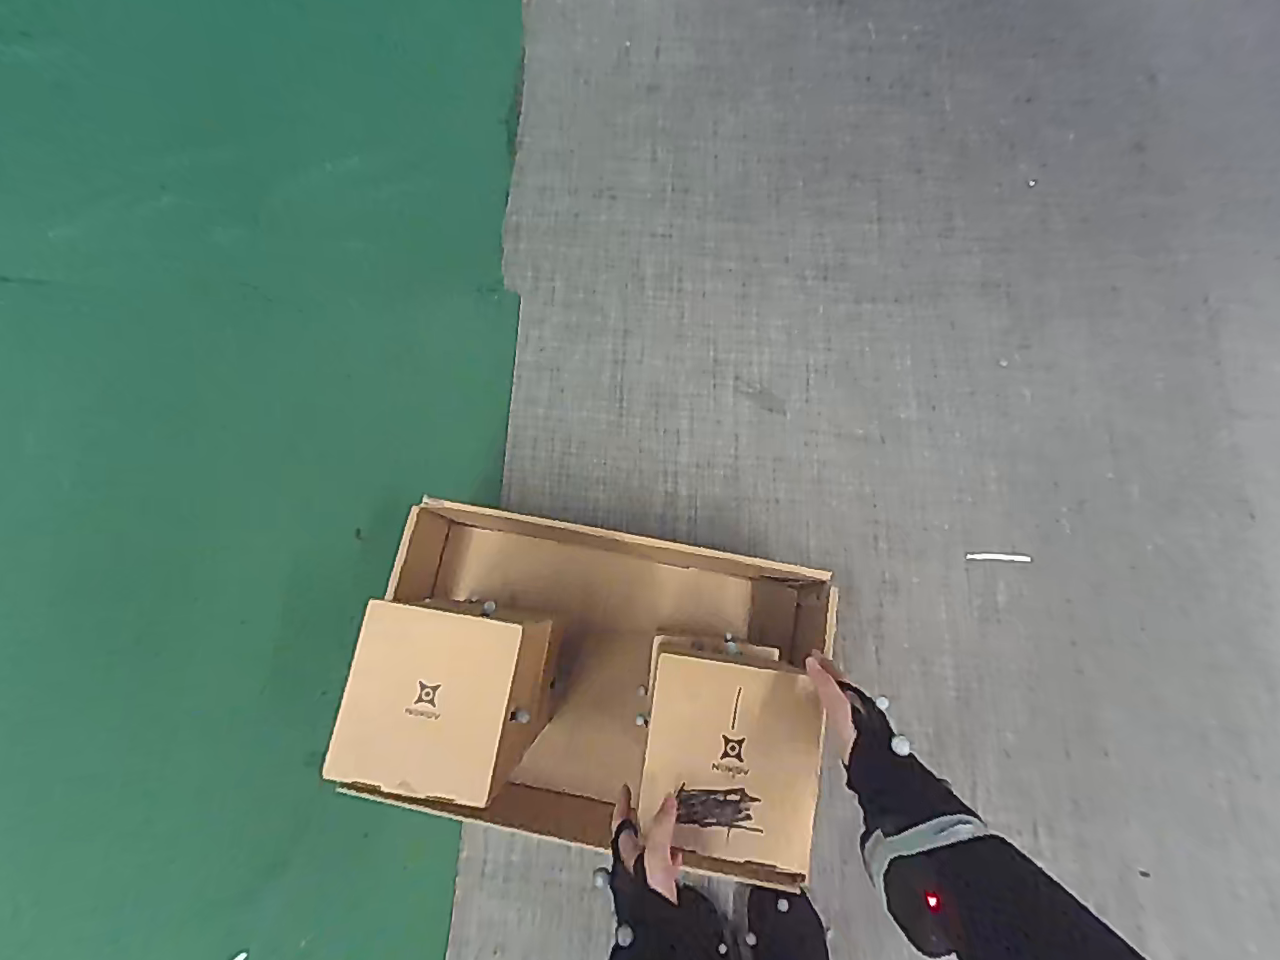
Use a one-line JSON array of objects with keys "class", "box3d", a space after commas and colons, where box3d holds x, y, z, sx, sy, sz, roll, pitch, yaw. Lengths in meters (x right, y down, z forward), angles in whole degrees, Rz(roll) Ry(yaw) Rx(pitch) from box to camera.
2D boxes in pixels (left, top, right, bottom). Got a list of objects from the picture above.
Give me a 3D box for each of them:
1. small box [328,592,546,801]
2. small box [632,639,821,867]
[{"class": "small box", "box3d": [-0.212, 0.230, 0.620, 0.168, 0.176, 0.179, 10, 79, 2]}, {"class": "small box", "box3d": [0.089, 0.283, 0.602, 0.168, 0.176, 0.179, 9, 76, 3]}]
